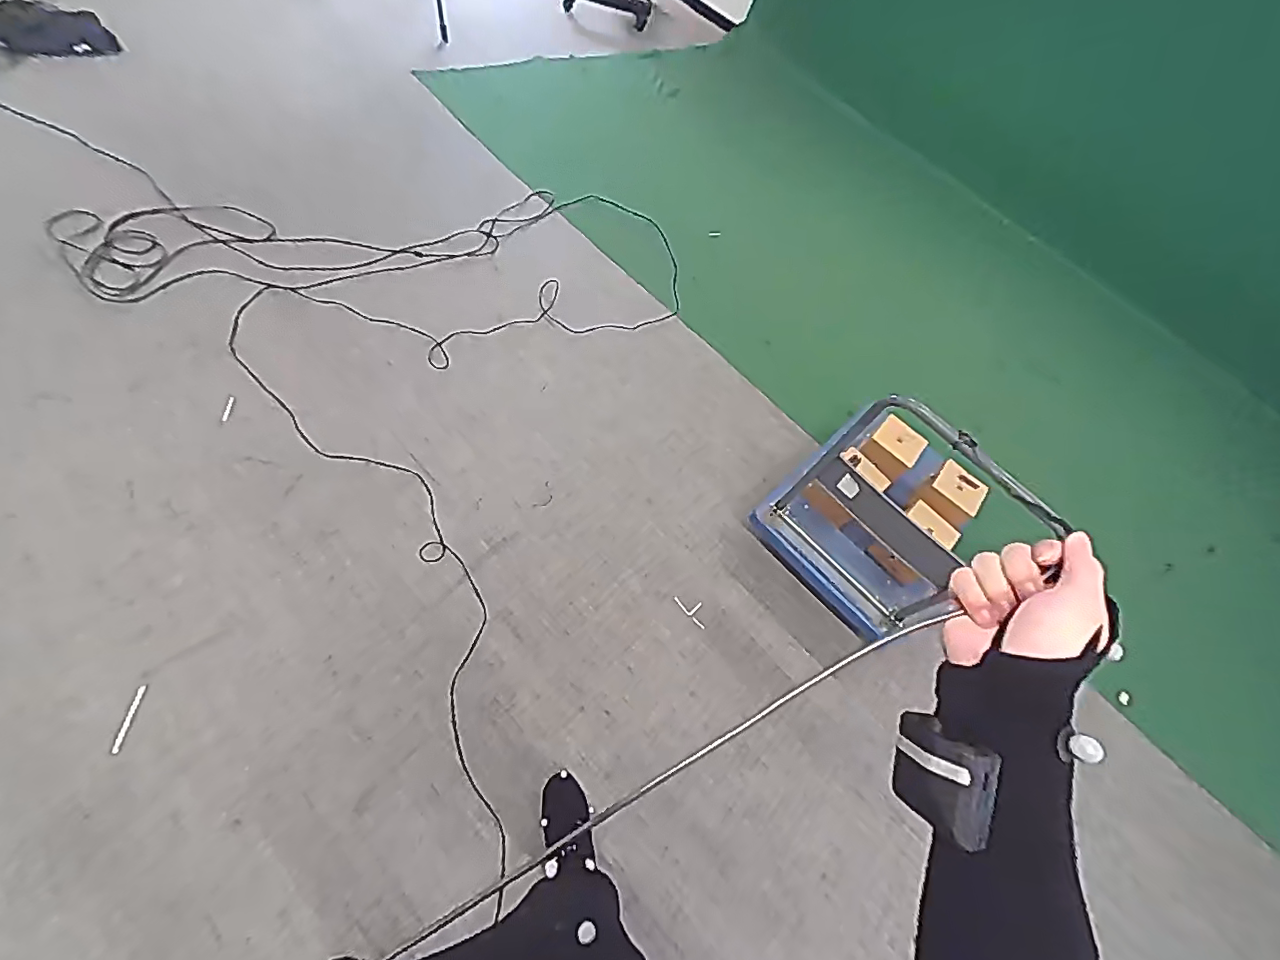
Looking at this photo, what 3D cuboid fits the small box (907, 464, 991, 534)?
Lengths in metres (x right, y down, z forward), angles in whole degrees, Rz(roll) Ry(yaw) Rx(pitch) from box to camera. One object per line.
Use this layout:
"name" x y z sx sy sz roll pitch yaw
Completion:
"small box" 1.077 0.082 1.895 0.168 0.176 0.179 41 57 12

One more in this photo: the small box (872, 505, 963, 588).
"small box" 0.892 0.218 1.752 0.179 0.176 0.168 -35 73 -31

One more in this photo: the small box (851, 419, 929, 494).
"small box" 0.891 -0.080 1.946 0.168 0.176 0.179 42 56 11
